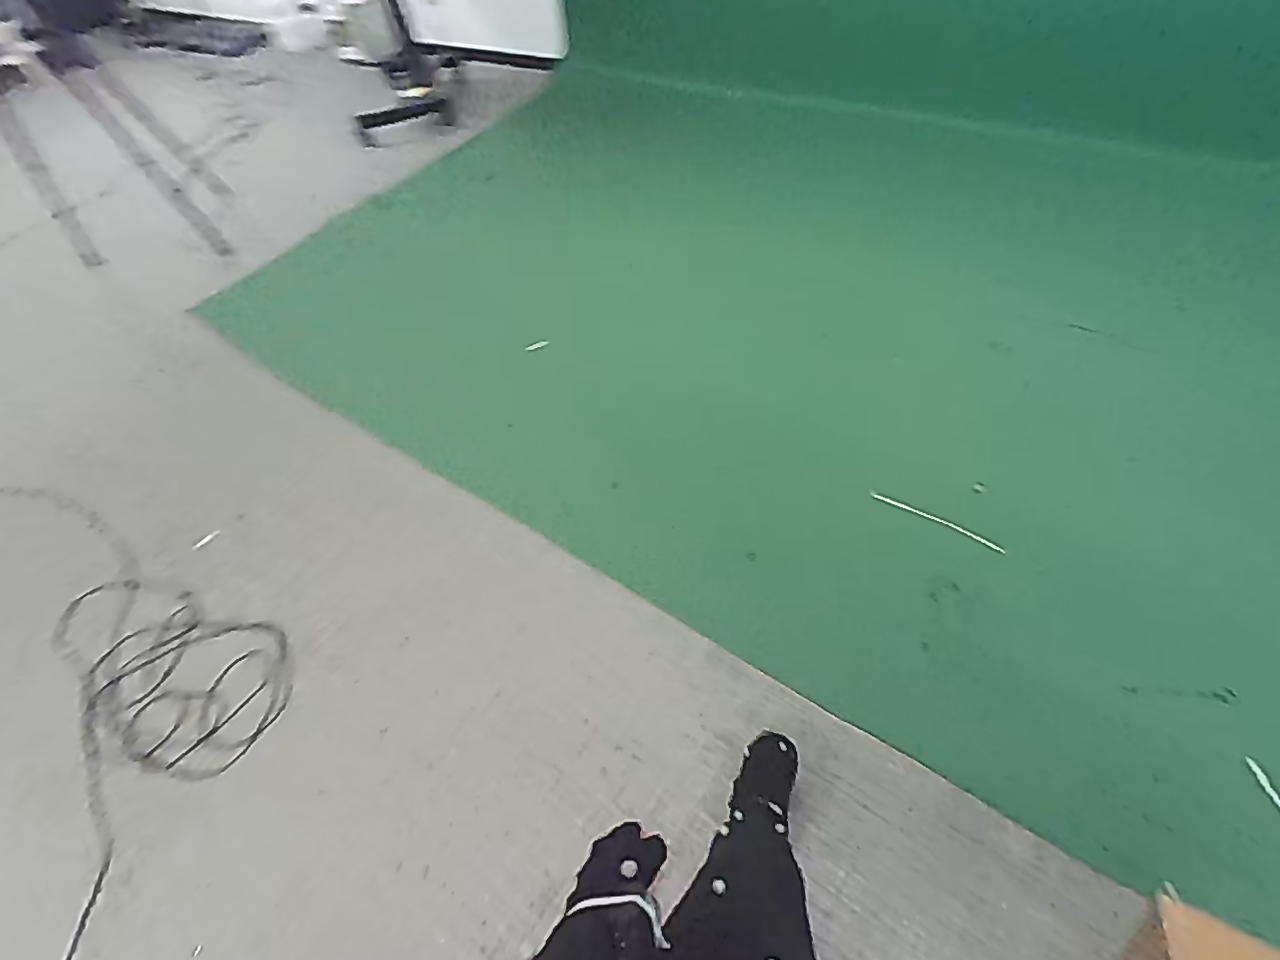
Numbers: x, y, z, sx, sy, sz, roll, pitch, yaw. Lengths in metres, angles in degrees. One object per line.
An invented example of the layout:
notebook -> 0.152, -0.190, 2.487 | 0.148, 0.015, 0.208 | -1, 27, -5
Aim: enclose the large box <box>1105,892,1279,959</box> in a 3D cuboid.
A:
large box -> 0.651, 0.756, 0.517 | 0.320, 0.320, 0.408 | 20, 21, 31
